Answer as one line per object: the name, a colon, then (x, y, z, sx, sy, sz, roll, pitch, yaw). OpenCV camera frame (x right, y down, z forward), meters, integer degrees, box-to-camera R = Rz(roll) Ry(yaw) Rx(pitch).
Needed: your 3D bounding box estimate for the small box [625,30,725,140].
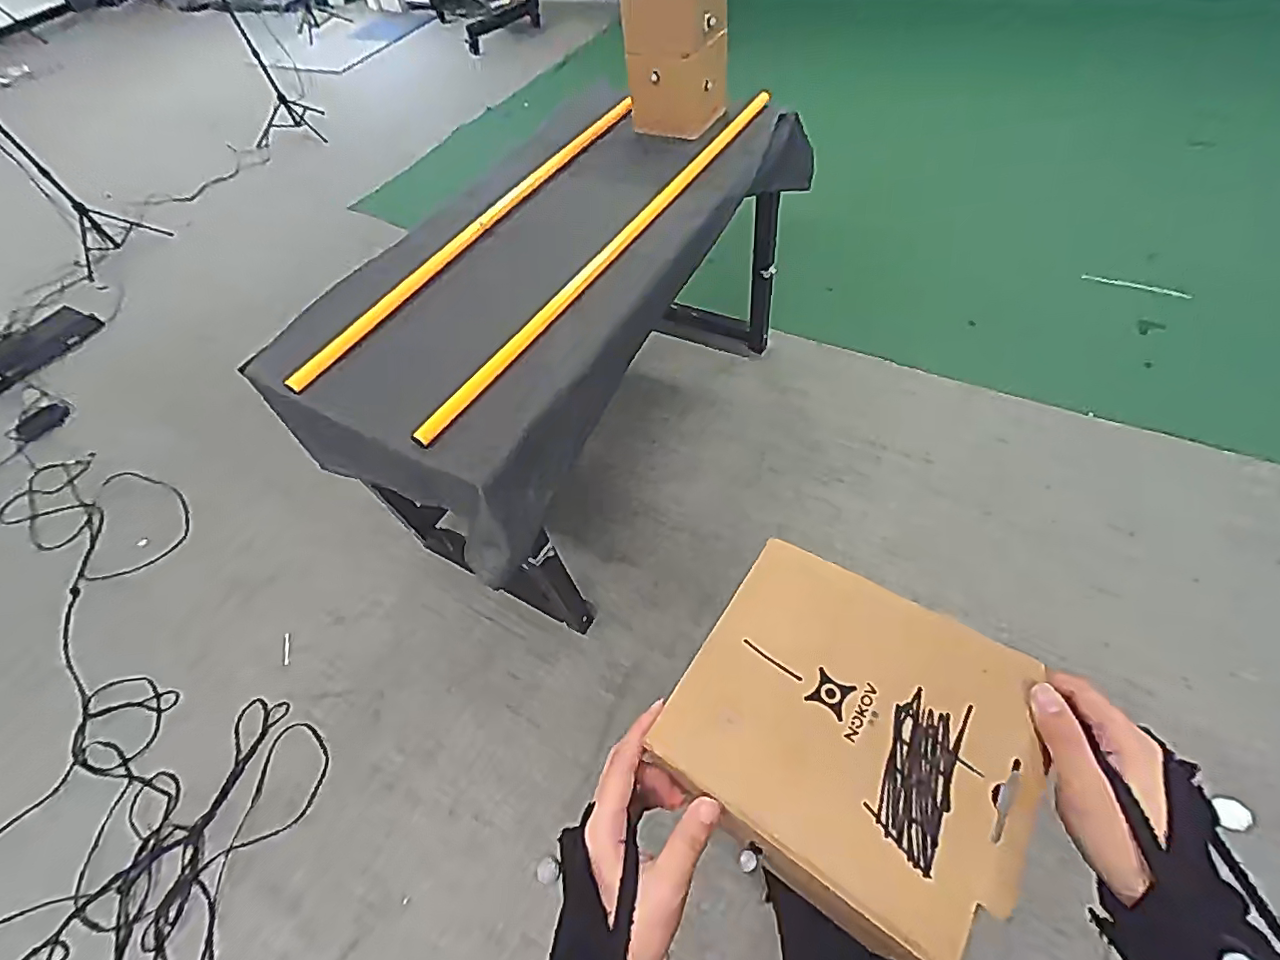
small box: (0.090, -0.937, 1.281, 0.179, 0.176, 0.168, 24, 63, 23)

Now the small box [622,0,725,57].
small box: (0.070, -1.033, 1.151, 0.179, 0.176, 0.168, 22, 63, 22)
